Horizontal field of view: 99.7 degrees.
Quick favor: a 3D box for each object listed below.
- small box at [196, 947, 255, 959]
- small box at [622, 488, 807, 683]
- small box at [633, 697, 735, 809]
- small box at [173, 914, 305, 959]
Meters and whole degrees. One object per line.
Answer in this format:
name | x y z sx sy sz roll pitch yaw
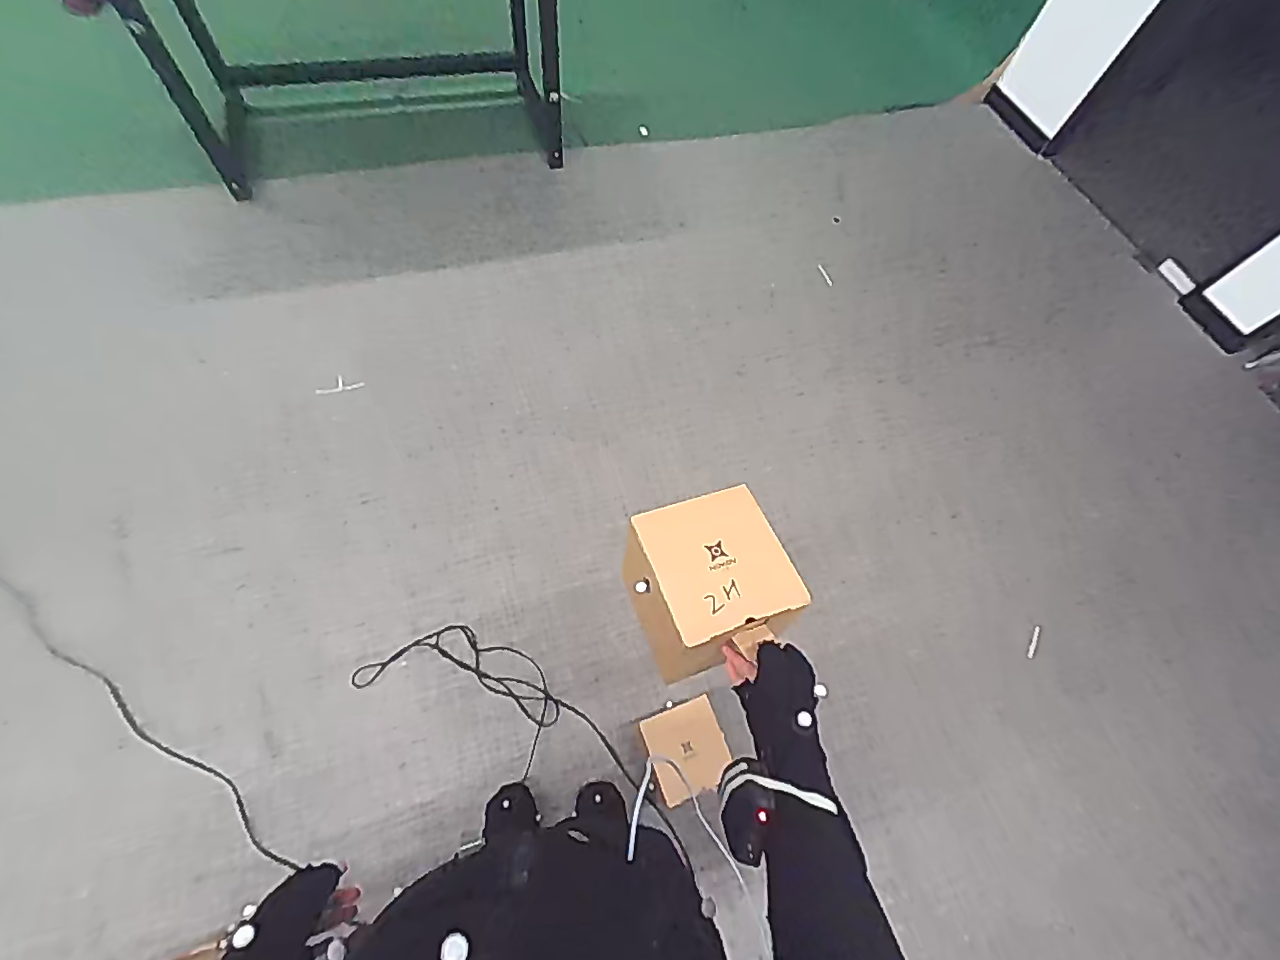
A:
small box | -0.716 0.857 0.823 0.168 0.176 0.179 -12 67 -12
small box | 0.082 0.141 0.713 0.168 0.176 0.179 -15 60 -16
small box | 0.091 0.613 1.228 0.168 0.176 0.179 -16 67 -15
small box | -0.731 0.924 0.975 0.168 0.176 0.179 -16 66 -11
